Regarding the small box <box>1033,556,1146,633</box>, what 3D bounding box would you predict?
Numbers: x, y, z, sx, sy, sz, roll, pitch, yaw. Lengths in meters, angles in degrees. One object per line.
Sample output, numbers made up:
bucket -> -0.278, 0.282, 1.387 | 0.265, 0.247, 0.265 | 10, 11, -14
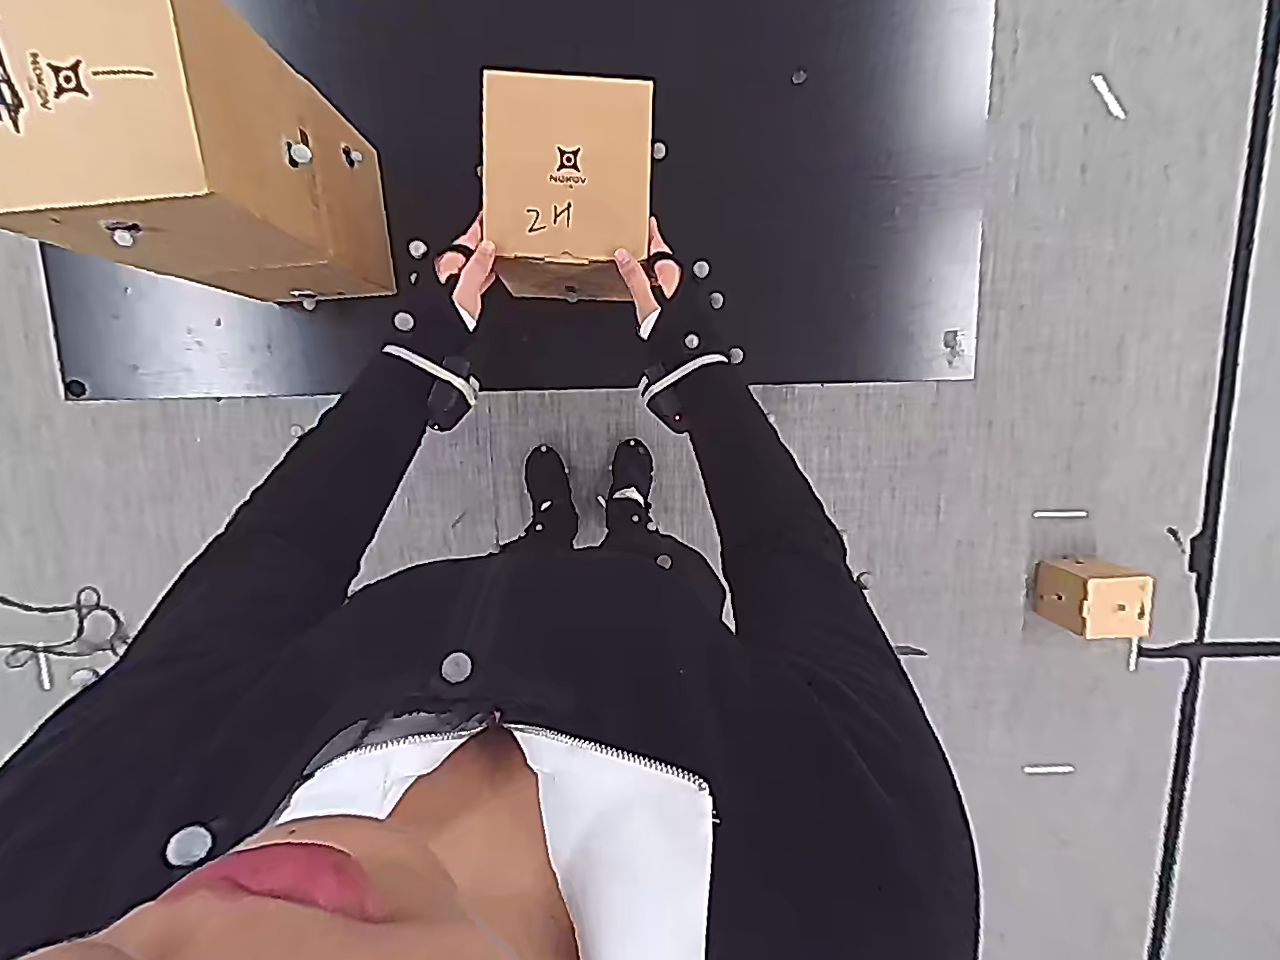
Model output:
small box -> 1.234, 0.313, 1.497 | 0.179, 0.176, 0.168 | -2, 98, -1

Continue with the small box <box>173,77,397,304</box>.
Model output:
small box -> -0.397, -0.308, 0.609 | 0.168, 0.176, 0.179 | -5, 99, -1

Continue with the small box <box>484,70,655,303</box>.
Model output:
small box -> -0.075, -0.312, 0.609 | 0.168, 0.176, 0.179 | 1, 95, -3

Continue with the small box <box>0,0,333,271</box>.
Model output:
small box -> -0.393, -0.281, 0.446 | 0.179, 0.176, 0.168 | -6, 98, -1
